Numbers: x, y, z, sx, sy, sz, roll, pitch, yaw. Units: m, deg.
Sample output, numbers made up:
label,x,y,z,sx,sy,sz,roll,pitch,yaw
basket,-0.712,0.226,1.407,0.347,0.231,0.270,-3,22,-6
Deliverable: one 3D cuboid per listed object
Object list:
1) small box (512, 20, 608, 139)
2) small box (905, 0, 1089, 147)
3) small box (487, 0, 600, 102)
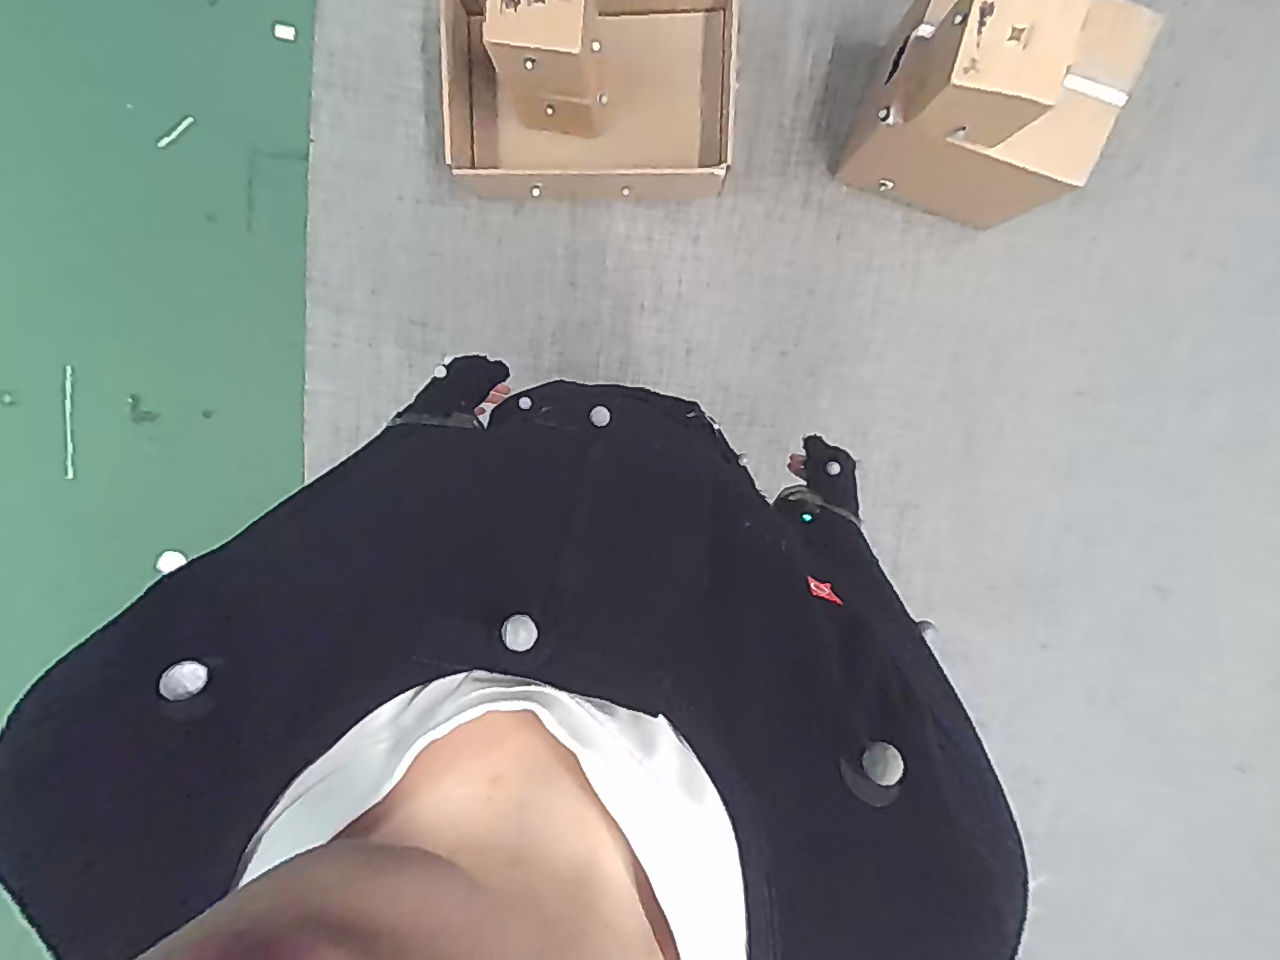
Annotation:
label,x,y,z,sx,sy,sz,roll,pitch,yaw
small box,-0.171,-0.885,1.196,0.179,0.176,0.168,7,100,-2
small box,0.594,-0.700,0.926,0.179,0.176,0.168,13,102,0
small box,-0.177,-0.859,1.034,0.179,0.176,0.168,7,100,-1
